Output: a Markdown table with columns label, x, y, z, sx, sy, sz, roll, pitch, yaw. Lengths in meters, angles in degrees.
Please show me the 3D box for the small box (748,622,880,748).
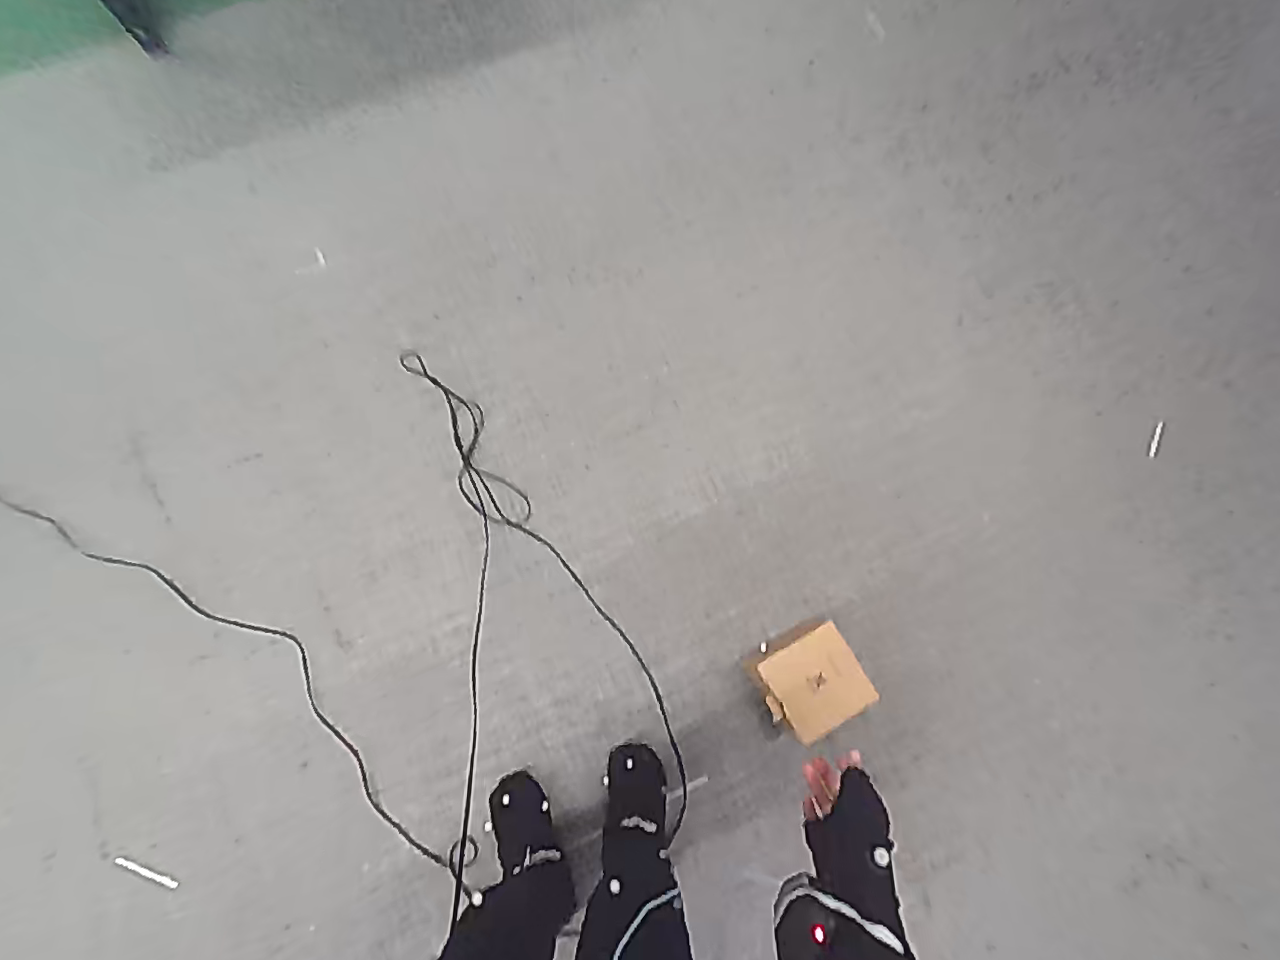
| label | x | y | z | sx | sy | sz | roll | pitch | yaw |
| --- | --- | --- | --- | --- | --- | --- | --- | --- | --- |
| small box | 0.333 | 0.400 | 1.084 | 0.179 | 0.176 | 0.168 | -28 | 78 | -8 |
